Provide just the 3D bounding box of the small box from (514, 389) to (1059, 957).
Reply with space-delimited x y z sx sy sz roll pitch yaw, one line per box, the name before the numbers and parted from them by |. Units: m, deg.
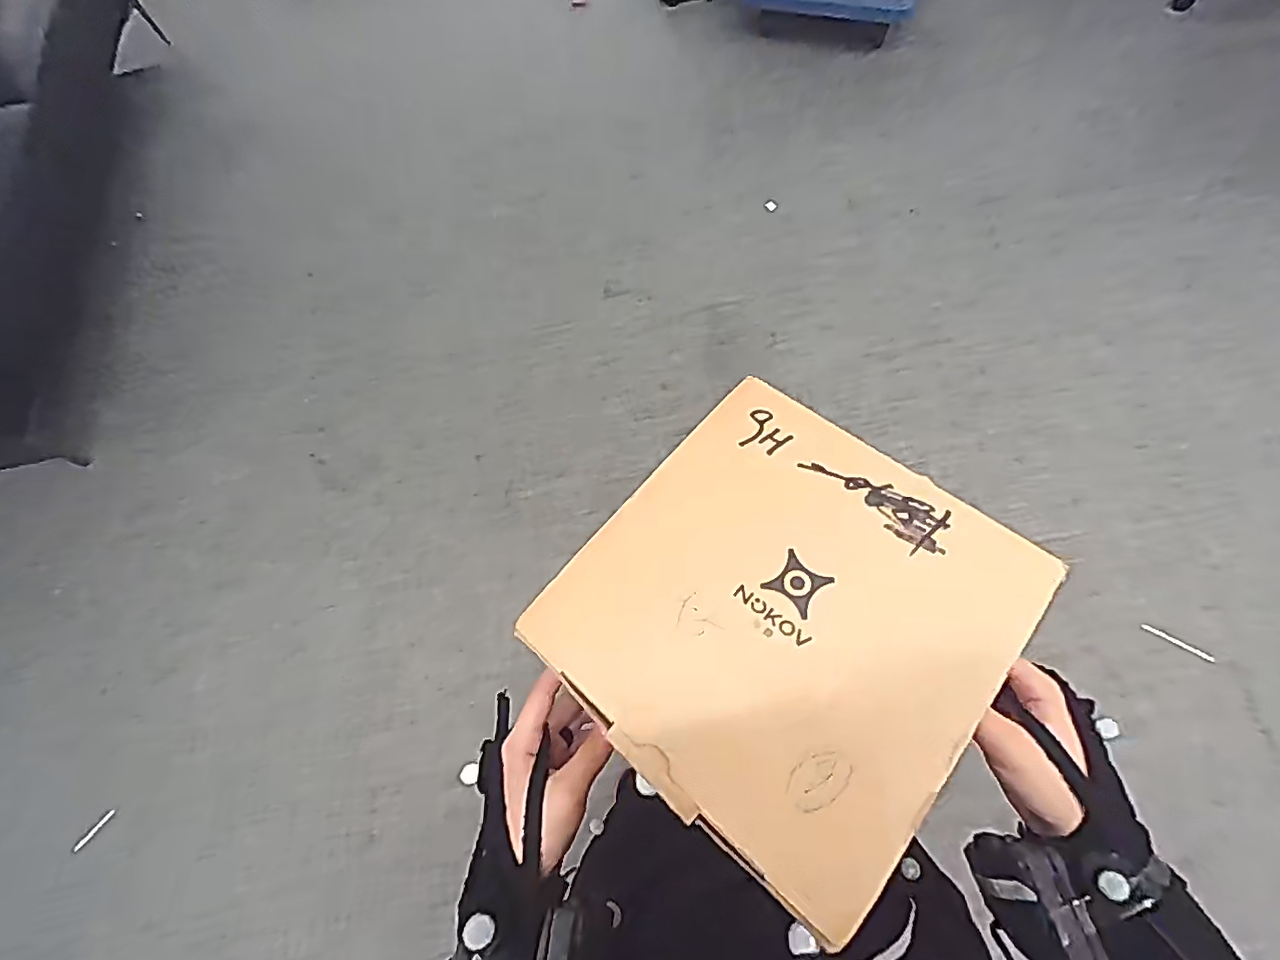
small box | 0.068 0.092 0.302 0.168 0.176 0.179 37 73 22
